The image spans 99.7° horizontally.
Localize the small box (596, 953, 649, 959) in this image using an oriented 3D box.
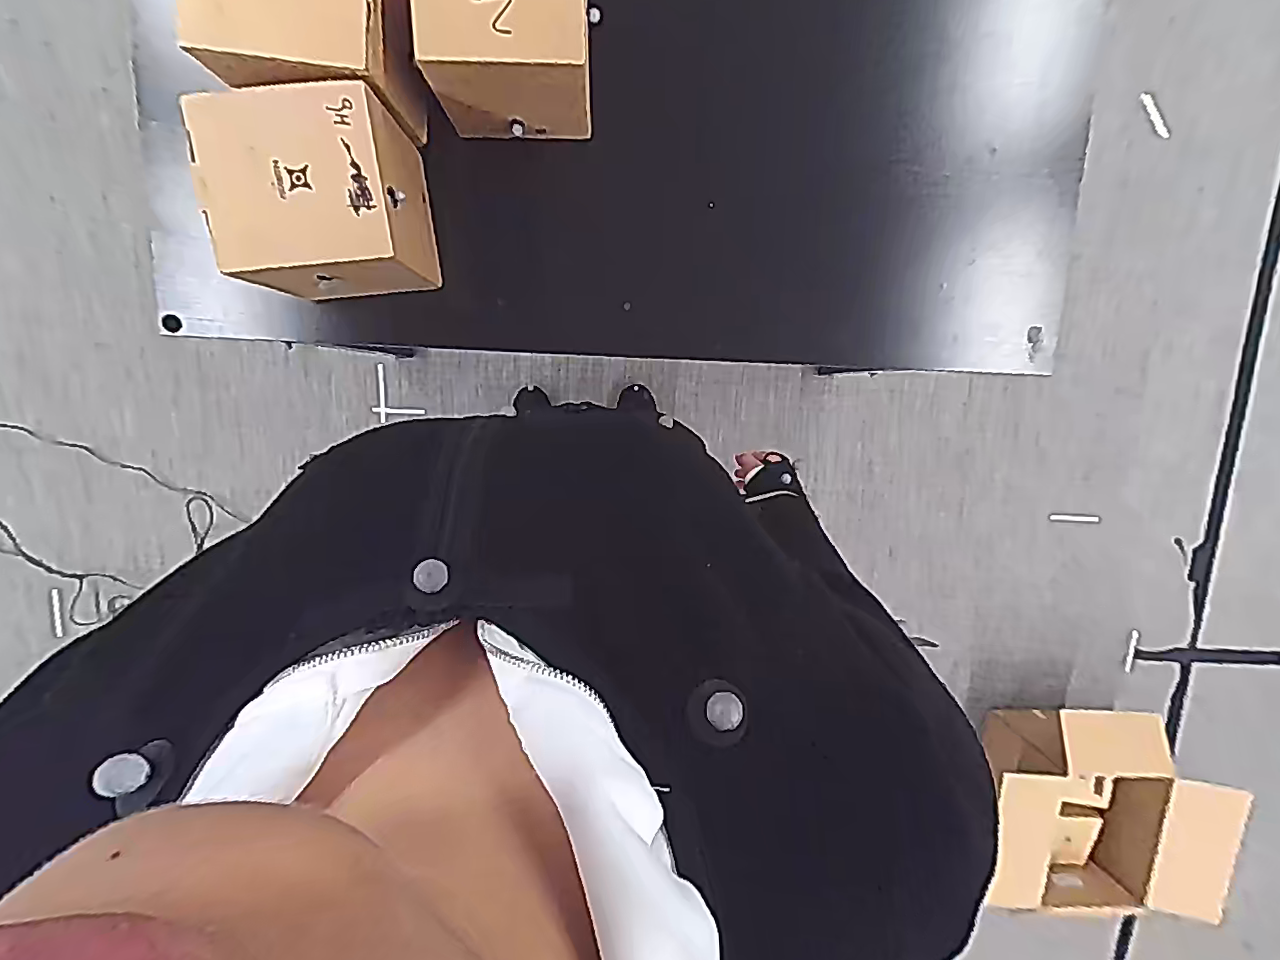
[{"bbox_3d":[-0.057,1.597,1.648,0.179,0.176,0.168,6,97,-3],"label":"small box"}]
